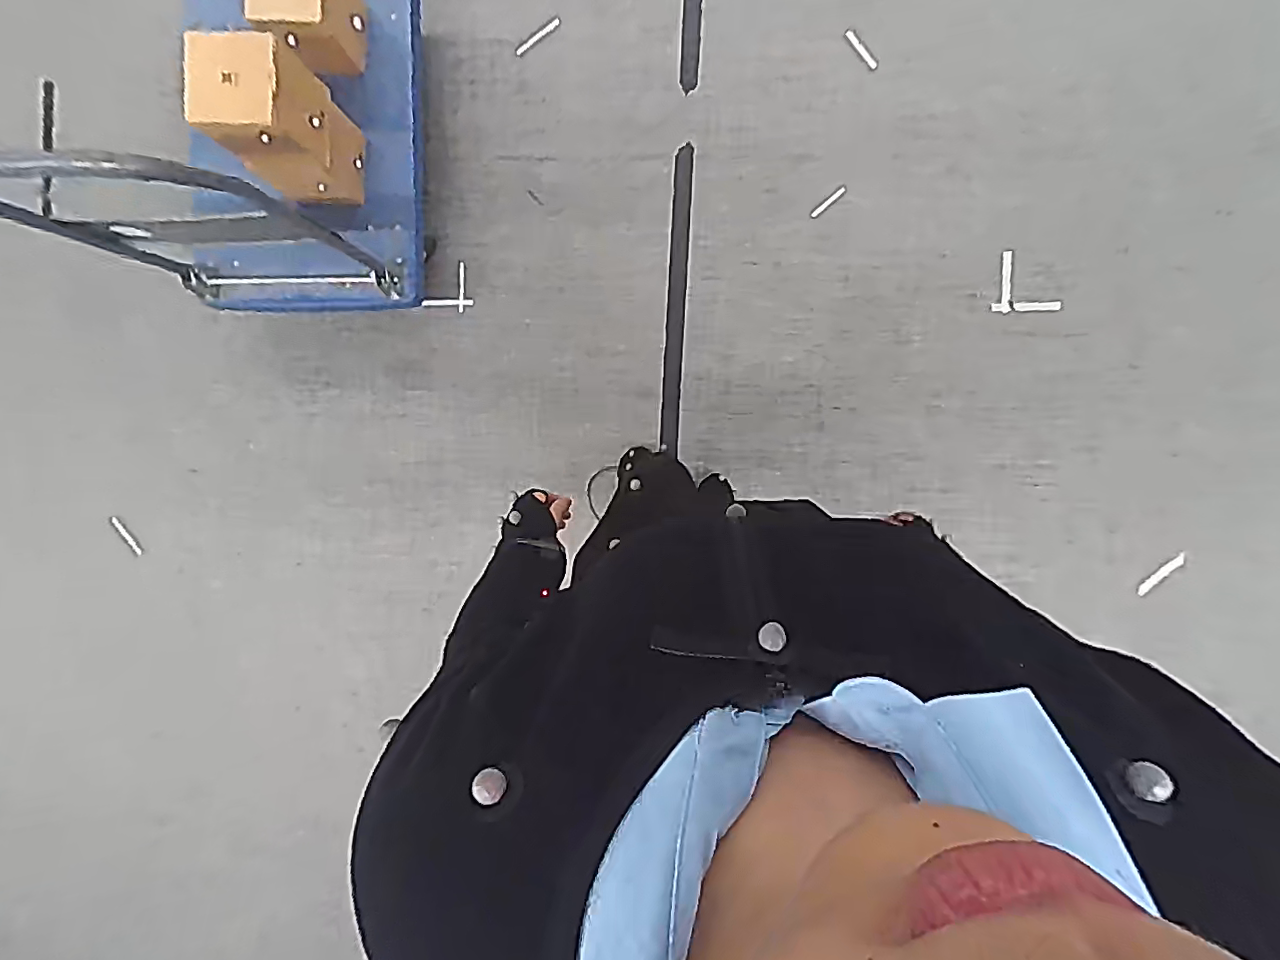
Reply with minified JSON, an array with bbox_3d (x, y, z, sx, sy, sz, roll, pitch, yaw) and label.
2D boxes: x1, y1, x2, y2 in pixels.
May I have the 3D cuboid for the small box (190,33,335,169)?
[{"bbox_3d":[-0.750,-0.750,1.086,0.179,0.176,0.168,2,93,2],"label":"small box"}]

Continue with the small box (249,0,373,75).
[{"bbox_3d":[-0.745,-1.065,1.234,0.179,0.176,0.168,5,94,4],"label":"small box"}]
